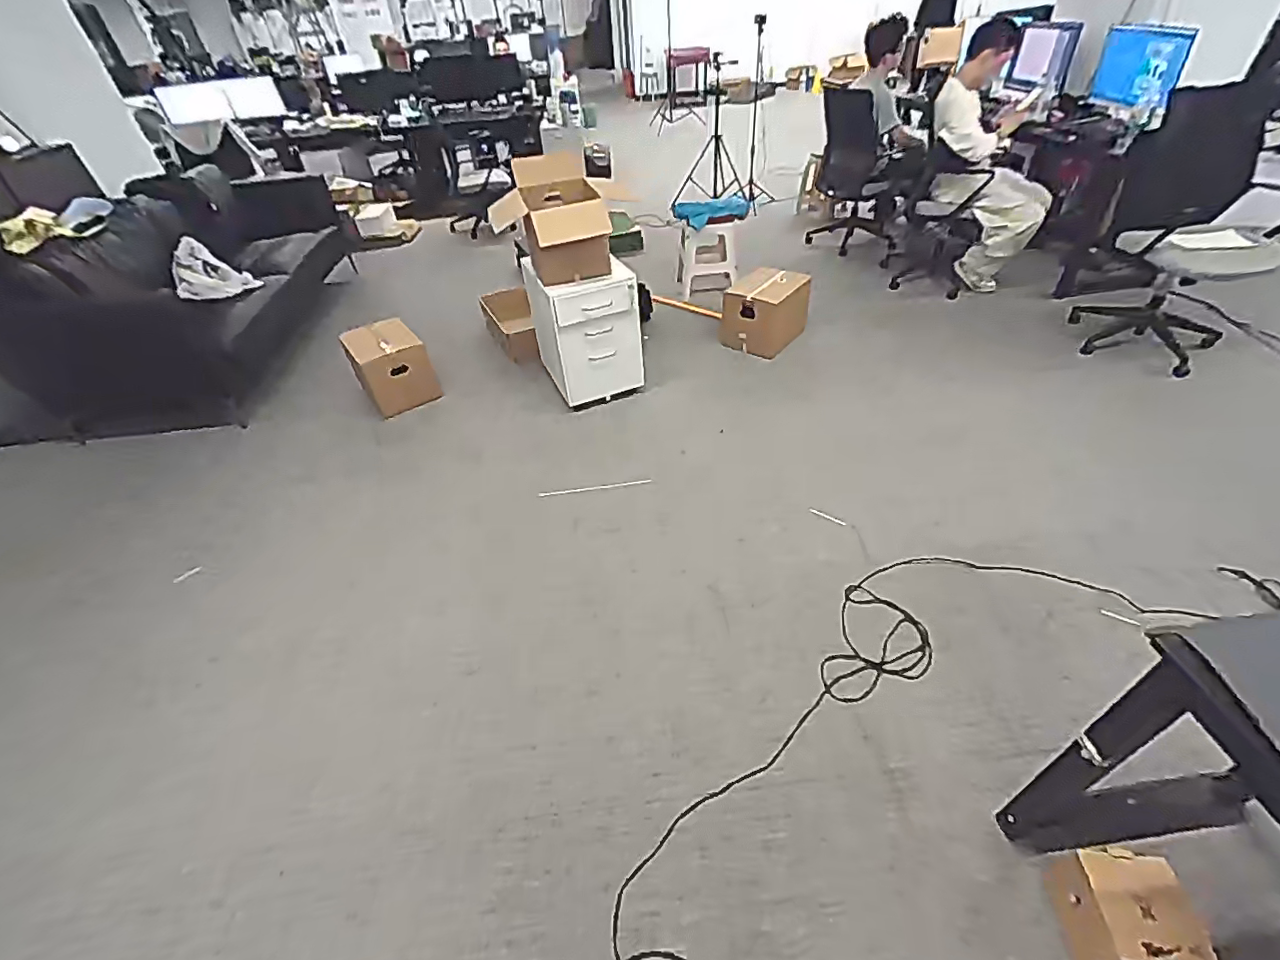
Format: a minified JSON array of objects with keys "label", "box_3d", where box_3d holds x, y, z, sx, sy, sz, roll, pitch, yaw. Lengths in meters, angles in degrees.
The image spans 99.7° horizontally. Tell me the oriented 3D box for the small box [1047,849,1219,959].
[{"label":"small box","box_3d":[0.948,0.859,1.059,0.168,0.176,0.179,1,41,8]}]
